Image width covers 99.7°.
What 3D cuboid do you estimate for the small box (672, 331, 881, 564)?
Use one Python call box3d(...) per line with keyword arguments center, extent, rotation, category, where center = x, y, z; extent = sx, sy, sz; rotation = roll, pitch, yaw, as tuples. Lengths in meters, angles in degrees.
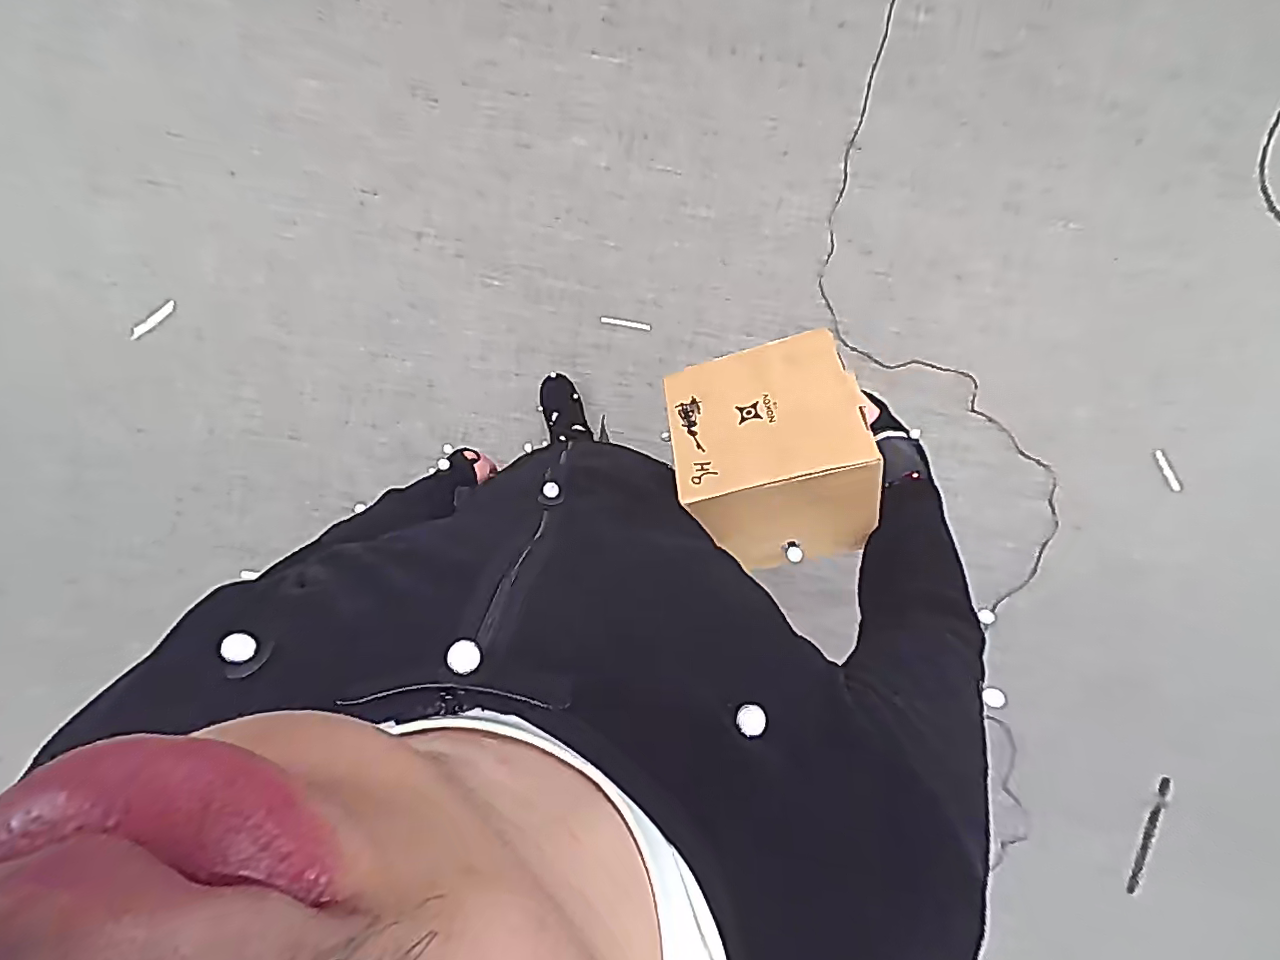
box3d(center=(0.143, -0.026, 0.587), extent=(0.179, 0.176, 0.168), rotation=(-13, 54, 12), category="small box")
